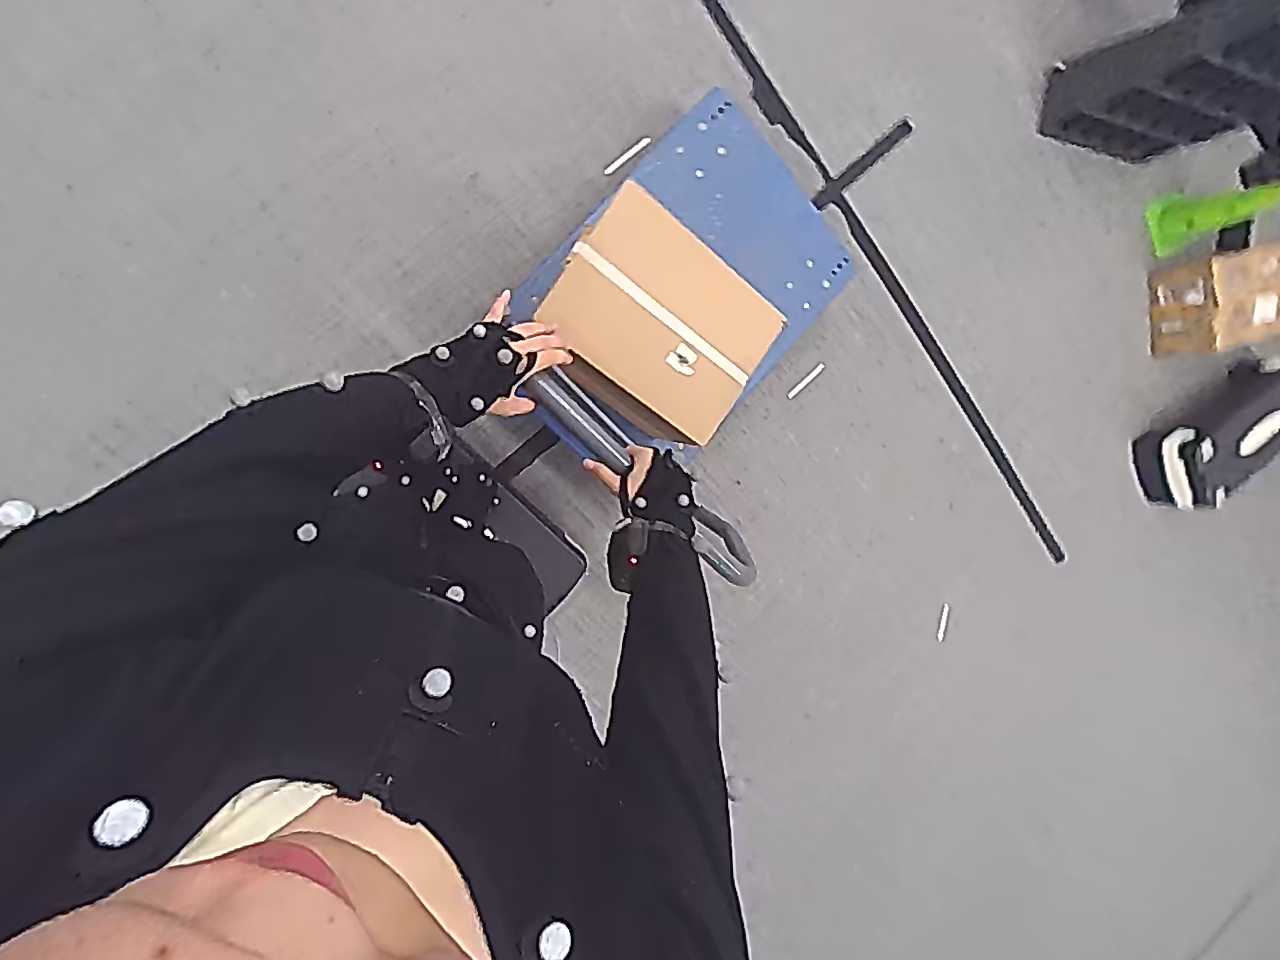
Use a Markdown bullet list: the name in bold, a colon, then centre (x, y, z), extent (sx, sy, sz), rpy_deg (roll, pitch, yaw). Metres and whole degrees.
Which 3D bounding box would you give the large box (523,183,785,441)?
- **large box**: centre (0.012, -0.324, 1.155), extent (0.408, 0.320, 0.320), rpy_deg (35, 87, -19)
